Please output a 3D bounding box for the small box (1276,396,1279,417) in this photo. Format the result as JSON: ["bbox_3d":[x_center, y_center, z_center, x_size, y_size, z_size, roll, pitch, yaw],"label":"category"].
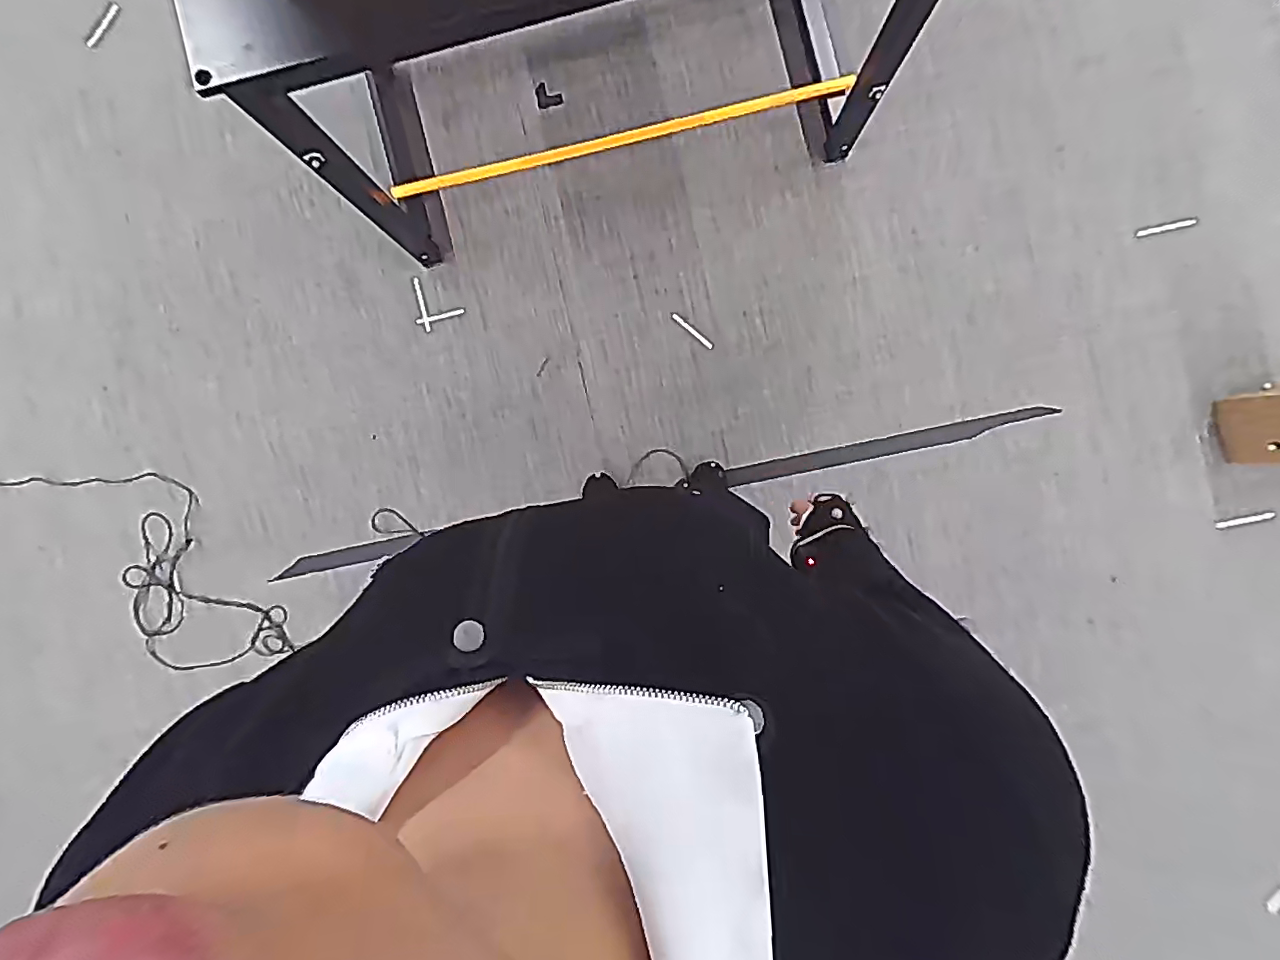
[{"bbox_3d":[1.604,-0.144,1.201,0.179,0.176,0.168,-12,91,3],"label":"small box"}]

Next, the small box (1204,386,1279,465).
[{"bbox_3d":[1.599,-0.142,1.364,0.168,0.176,0.179,-14,91,2],"label":"small box"}]
